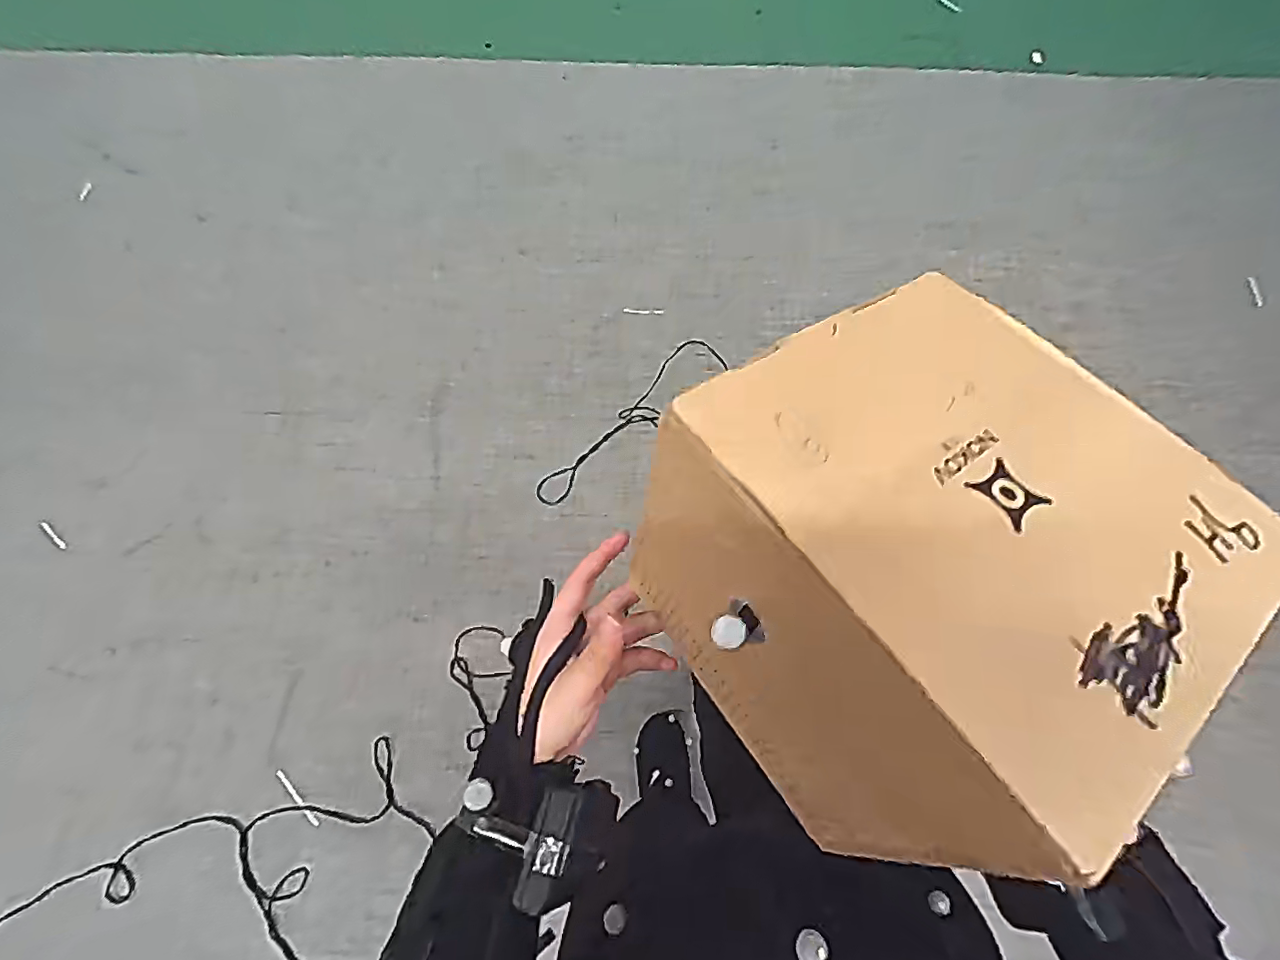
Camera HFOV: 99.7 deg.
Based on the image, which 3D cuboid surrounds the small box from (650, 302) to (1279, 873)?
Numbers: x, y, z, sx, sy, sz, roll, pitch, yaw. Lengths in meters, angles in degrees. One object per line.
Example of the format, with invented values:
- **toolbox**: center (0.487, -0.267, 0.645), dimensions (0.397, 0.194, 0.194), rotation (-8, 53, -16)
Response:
- **small box**: center (0.120, 0.052, 0.268), dimensions (0.168, 0.176, 0.179), rotation (-30, 65, -22)
